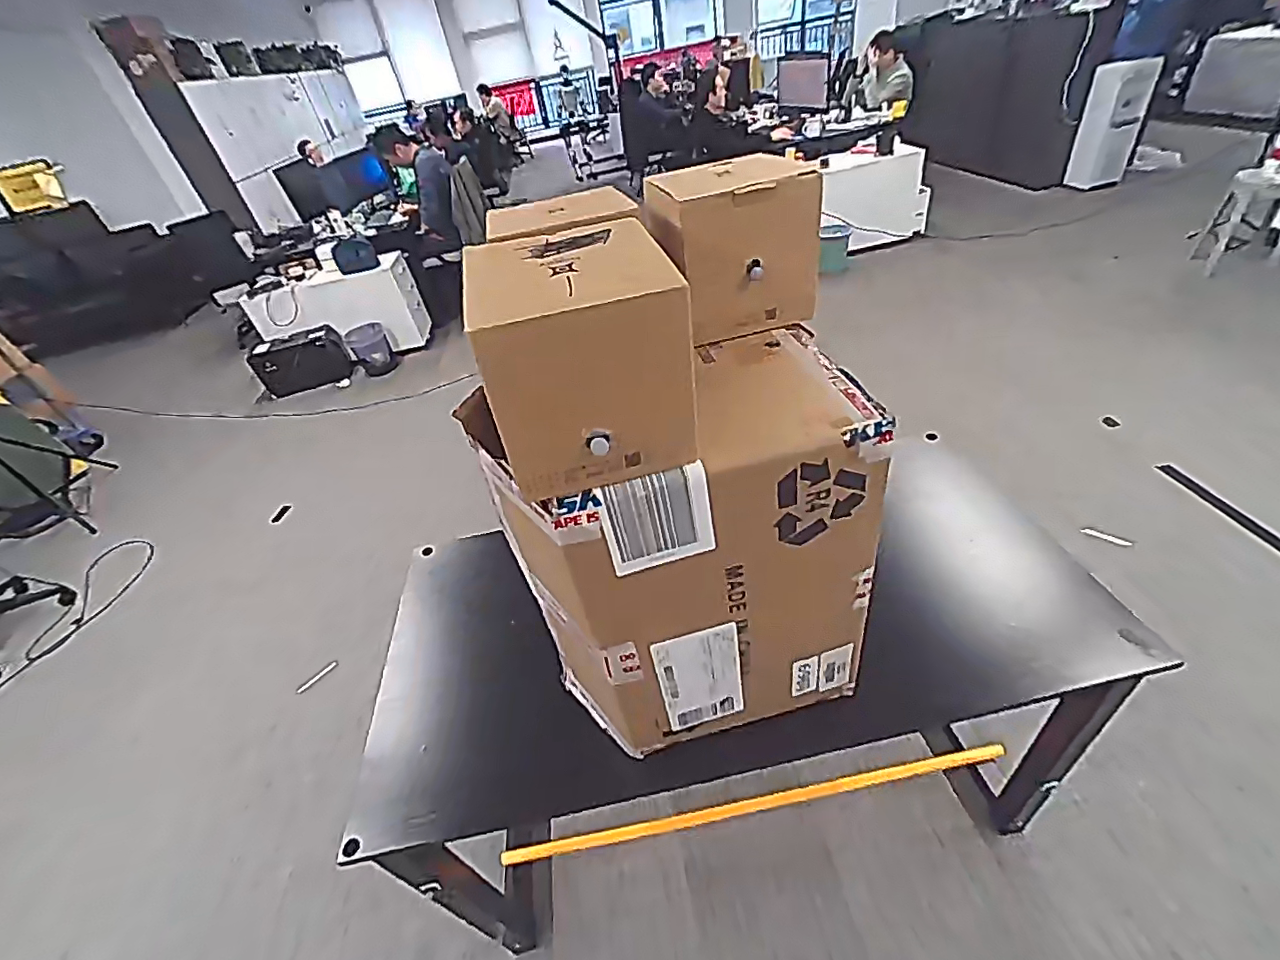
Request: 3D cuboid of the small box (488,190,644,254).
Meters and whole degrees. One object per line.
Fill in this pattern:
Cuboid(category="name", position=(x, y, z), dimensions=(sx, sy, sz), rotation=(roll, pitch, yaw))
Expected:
Cuboid(category="small box", position=(-0.085, -0.248, 0.682), dimensions=(0.168, 0.176, 0.179), rotation=(-16, 38, -5))

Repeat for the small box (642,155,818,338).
Cuboid(category="small box", position=(0.109, -0.293, 0.689), dimensions=(0.168, 0.176, 0.179), rotation=(-13, 39, -6))

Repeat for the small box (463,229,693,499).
Cuboid(category="small box", position=(-0.055, -0.110, 0.501), dimensions=(0.168, 0.176, 0.179), rotation=(-14, 41, -6))
